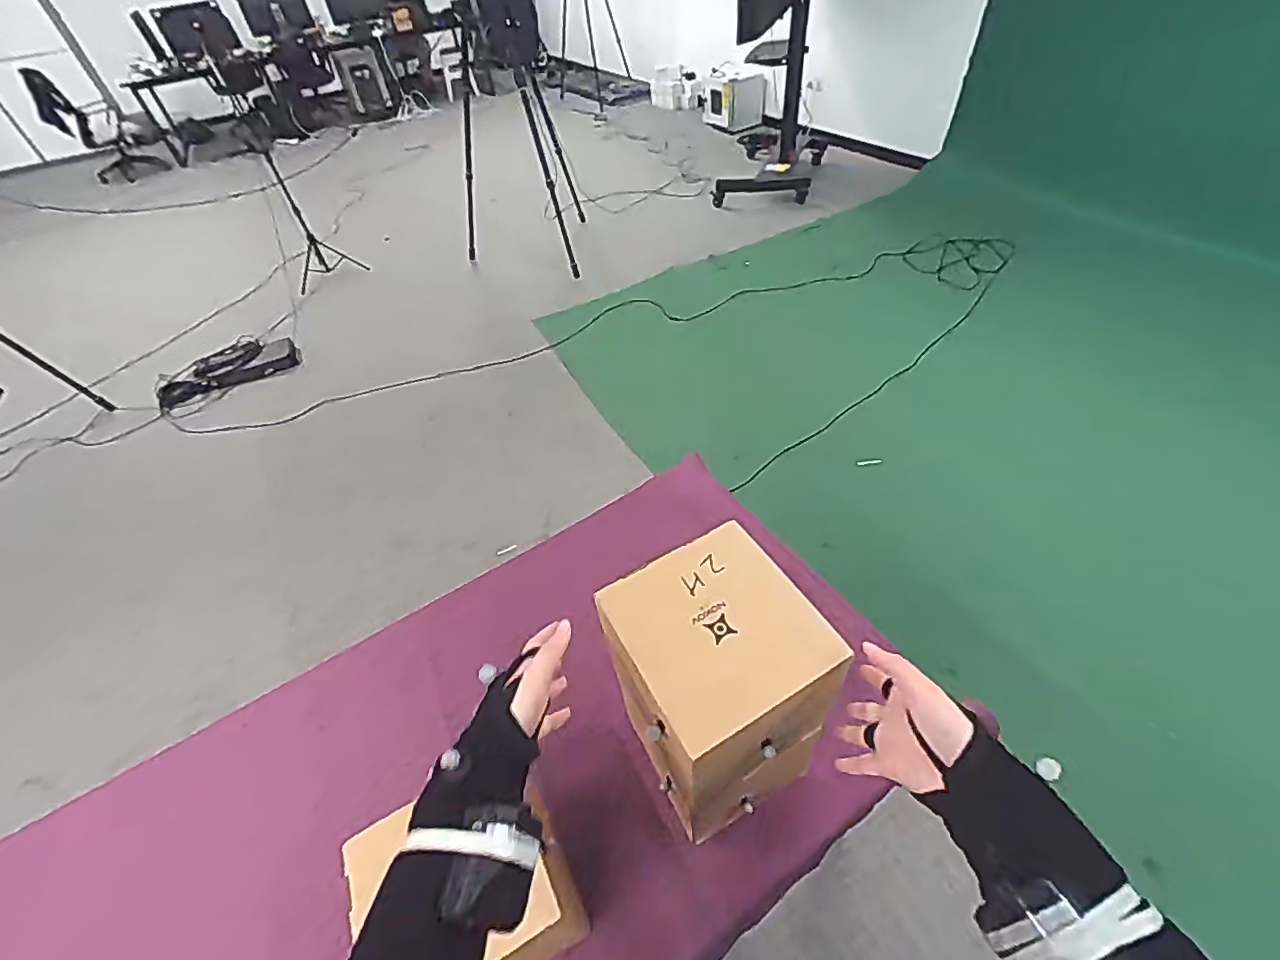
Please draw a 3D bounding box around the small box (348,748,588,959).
[{"bbox_3d":[-0.174,0.431,0.575,0.179,0.176,0.168,-25,49,-16],"label":"small box"}]

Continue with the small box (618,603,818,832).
[{"bbox_3d":[0.089,0.293,0.670,0.168,0.176,0.179,-25,49,-15],"label":"small box"}]
